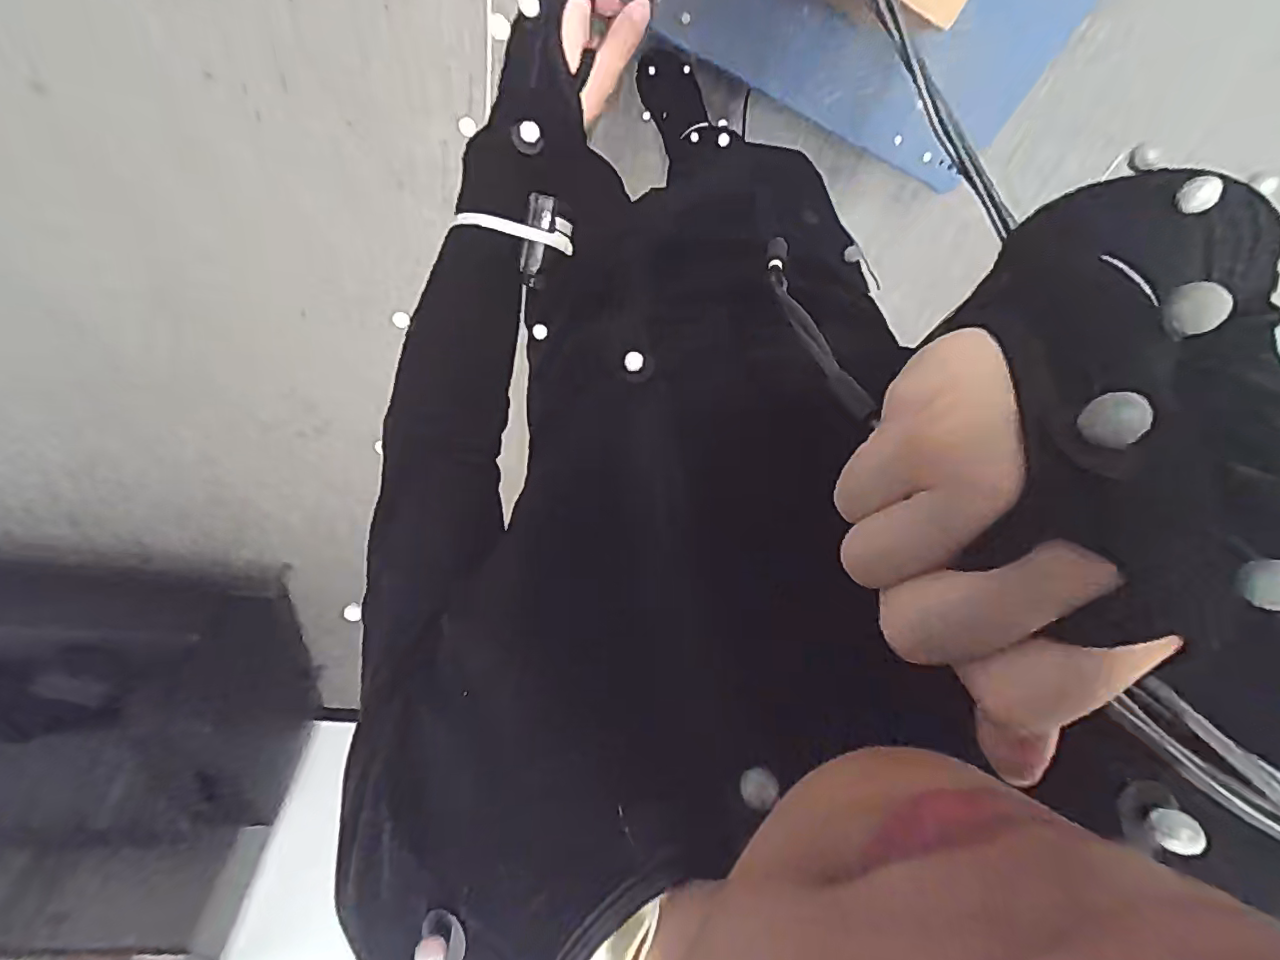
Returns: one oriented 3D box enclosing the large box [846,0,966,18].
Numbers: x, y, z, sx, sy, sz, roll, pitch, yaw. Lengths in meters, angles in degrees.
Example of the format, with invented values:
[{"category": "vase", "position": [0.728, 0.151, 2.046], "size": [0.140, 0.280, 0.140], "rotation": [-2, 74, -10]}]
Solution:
[{"category": "large box", "position": [0.319, -0.919, 0.746], "size": [0.408, 0.320, 0.320], "rotation": [16, 129, -17]}]
